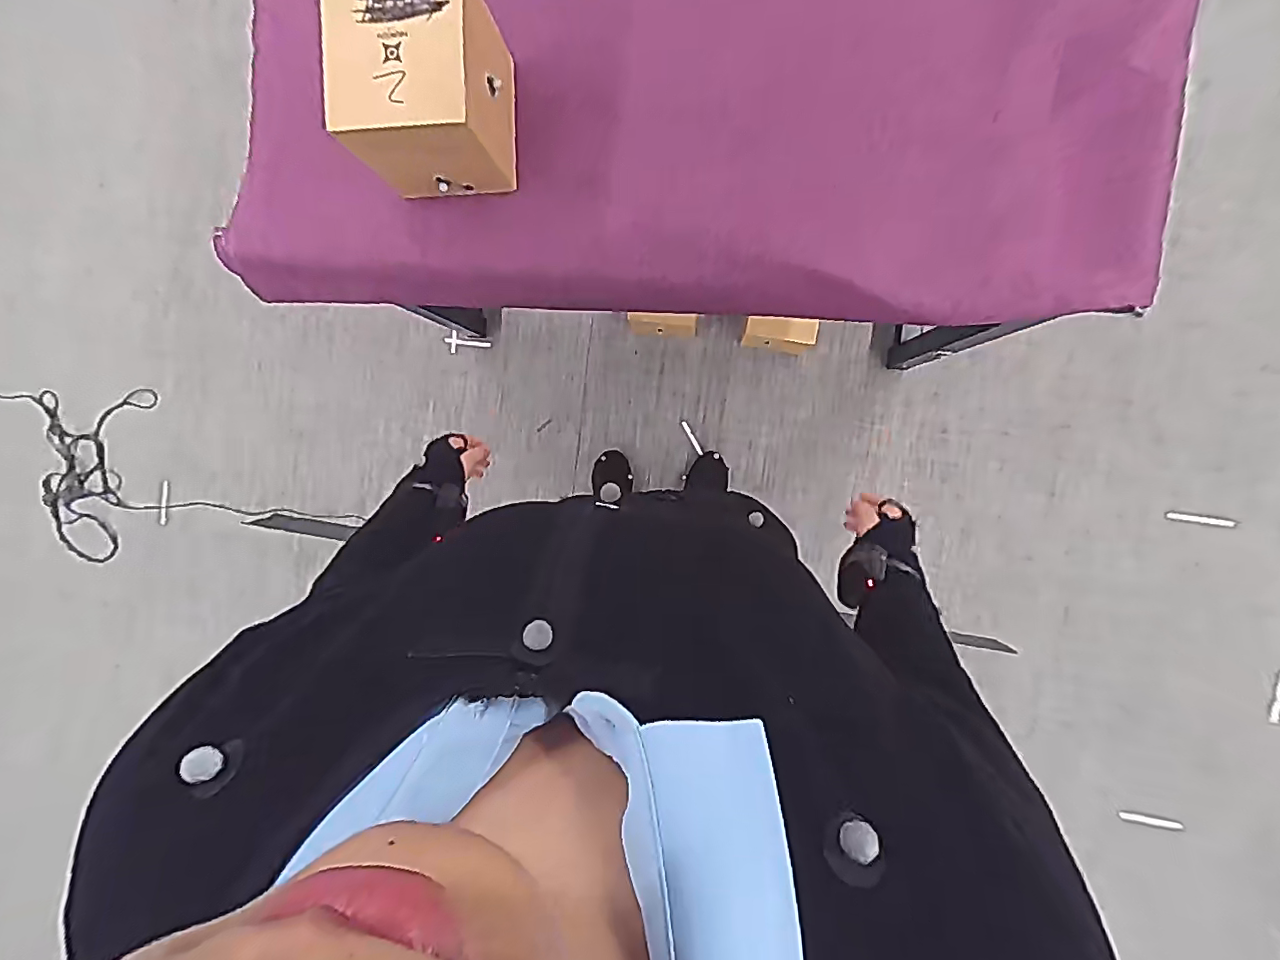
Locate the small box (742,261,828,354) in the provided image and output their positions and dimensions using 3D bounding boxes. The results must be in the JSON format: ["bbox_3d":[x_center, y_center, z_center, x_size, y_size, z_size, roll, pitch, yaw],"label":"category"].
[{"bbox_3d":[0.353,-0.423,1.351,0.168,0.176,0.179,11,95,5],"label":"small box"}]

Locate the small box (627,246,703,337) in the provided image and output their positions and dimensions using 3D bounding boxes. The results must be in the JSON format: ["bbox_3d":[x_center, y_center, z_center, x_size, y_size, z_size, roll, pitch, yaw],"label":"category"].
[{"bbox_3d":[0.068,-0.470,1.374,0.168,0.176,0.179,8,94,5],"label":"small box"}]
